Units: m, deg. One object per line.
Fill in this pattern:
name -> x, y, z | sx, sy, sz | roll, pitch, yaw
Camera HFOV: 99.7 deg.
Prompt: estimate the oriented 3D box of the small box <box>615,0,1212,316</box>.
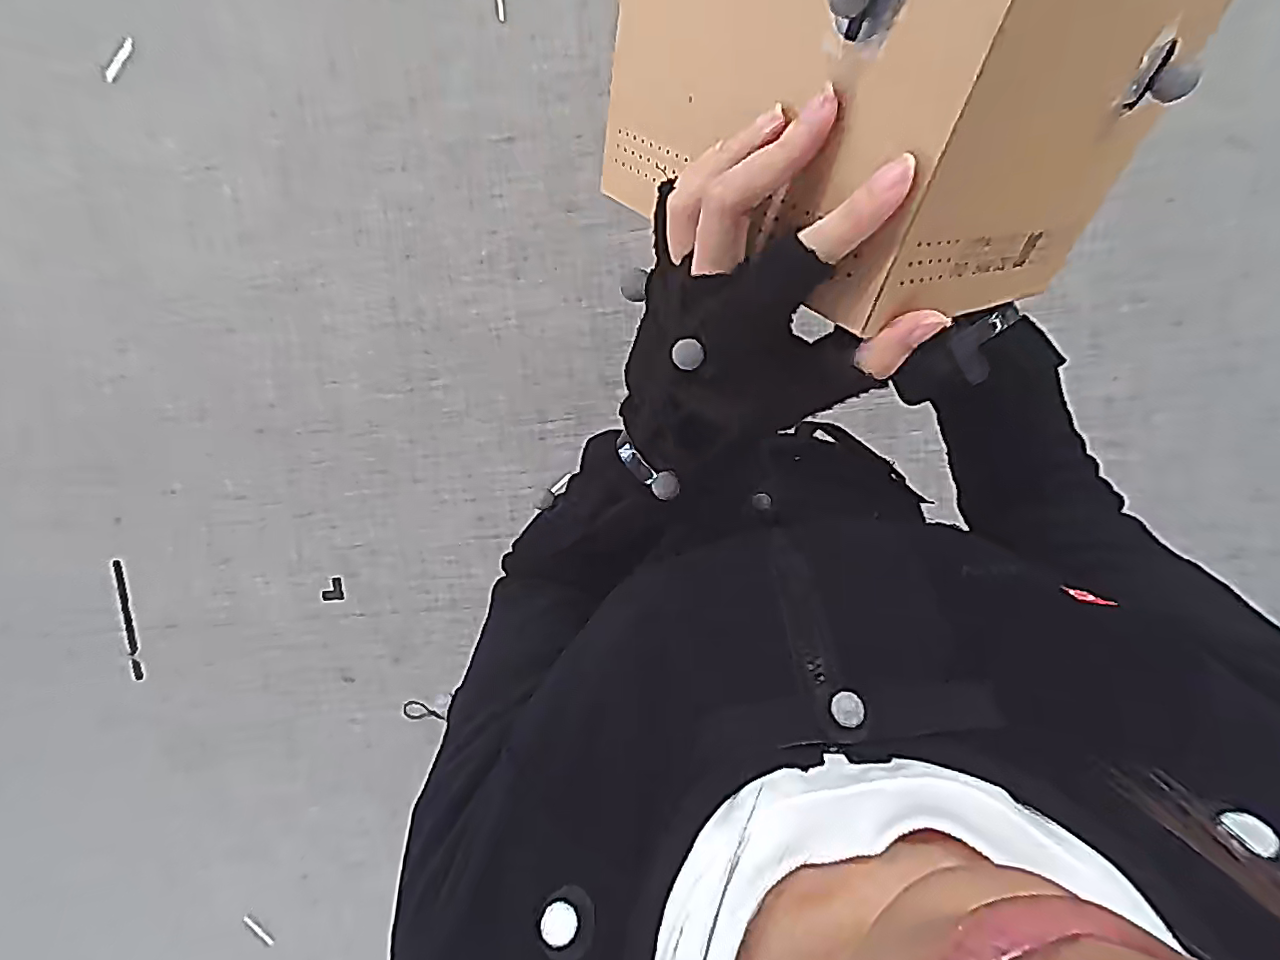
small box -> 0.108, -0.182, 0.239 | 0.179, 0.168, 0.176 | 45, 139, 34
